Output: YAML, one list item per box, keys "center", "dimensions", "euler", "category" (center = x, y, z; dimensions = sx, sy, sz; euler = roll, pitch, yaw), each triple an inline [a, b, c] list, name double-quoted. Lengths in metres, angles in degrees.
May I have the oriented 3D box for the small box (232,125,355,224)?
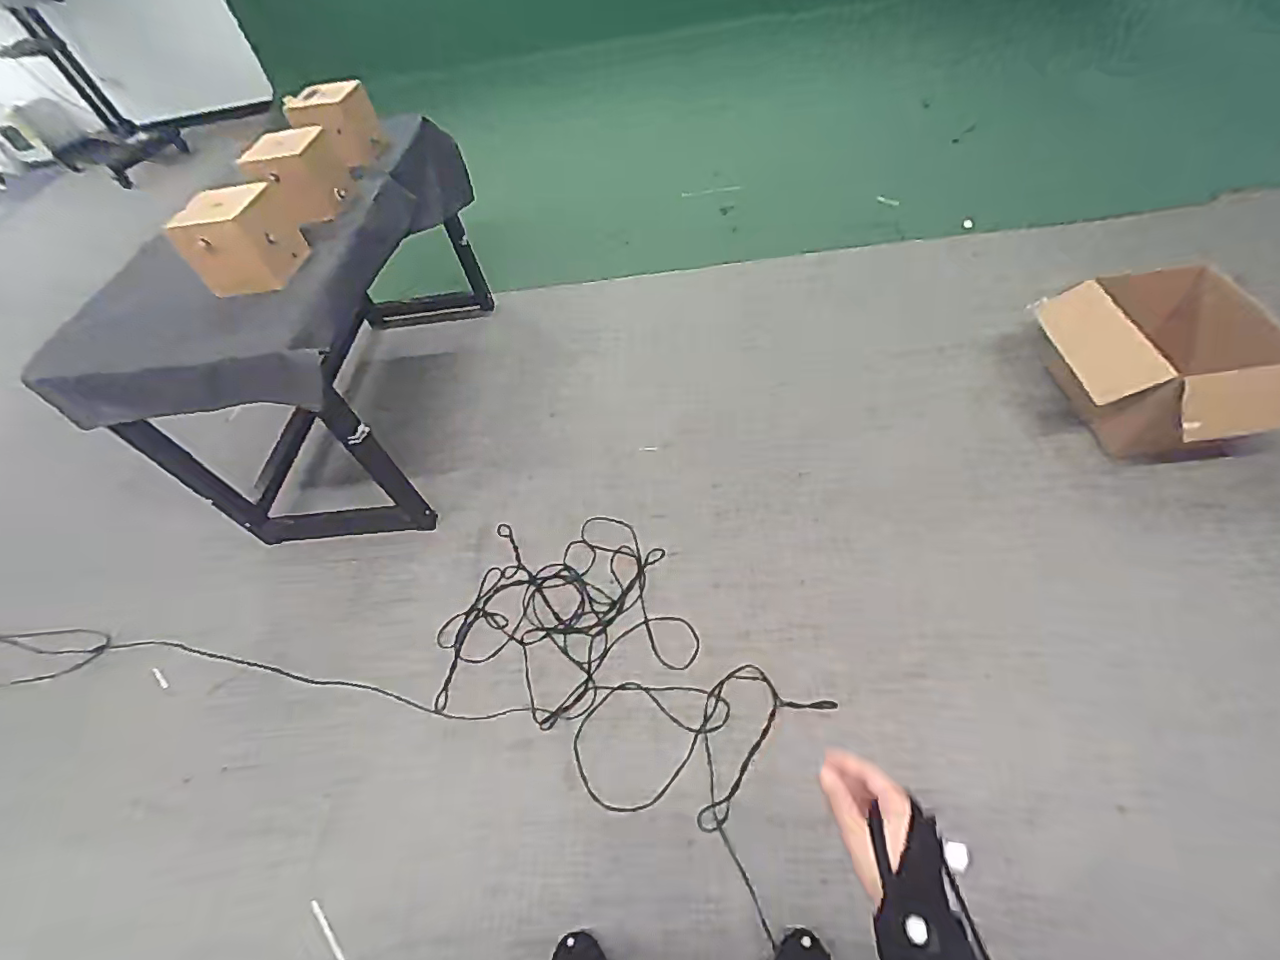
- center: [-0.890, -0.788, 1.407]
  dimensions: [0.179, 0.176, 0.168]
  euler: [-3, 54, 7]
  category: "small box"

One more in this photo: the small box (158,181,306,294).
- center: [-0.906, -0.544, 1.224]
  dimensions: [0.179, 0.176, 0.168]
  euler: [-4, 53, 8]
  category: "small box"
